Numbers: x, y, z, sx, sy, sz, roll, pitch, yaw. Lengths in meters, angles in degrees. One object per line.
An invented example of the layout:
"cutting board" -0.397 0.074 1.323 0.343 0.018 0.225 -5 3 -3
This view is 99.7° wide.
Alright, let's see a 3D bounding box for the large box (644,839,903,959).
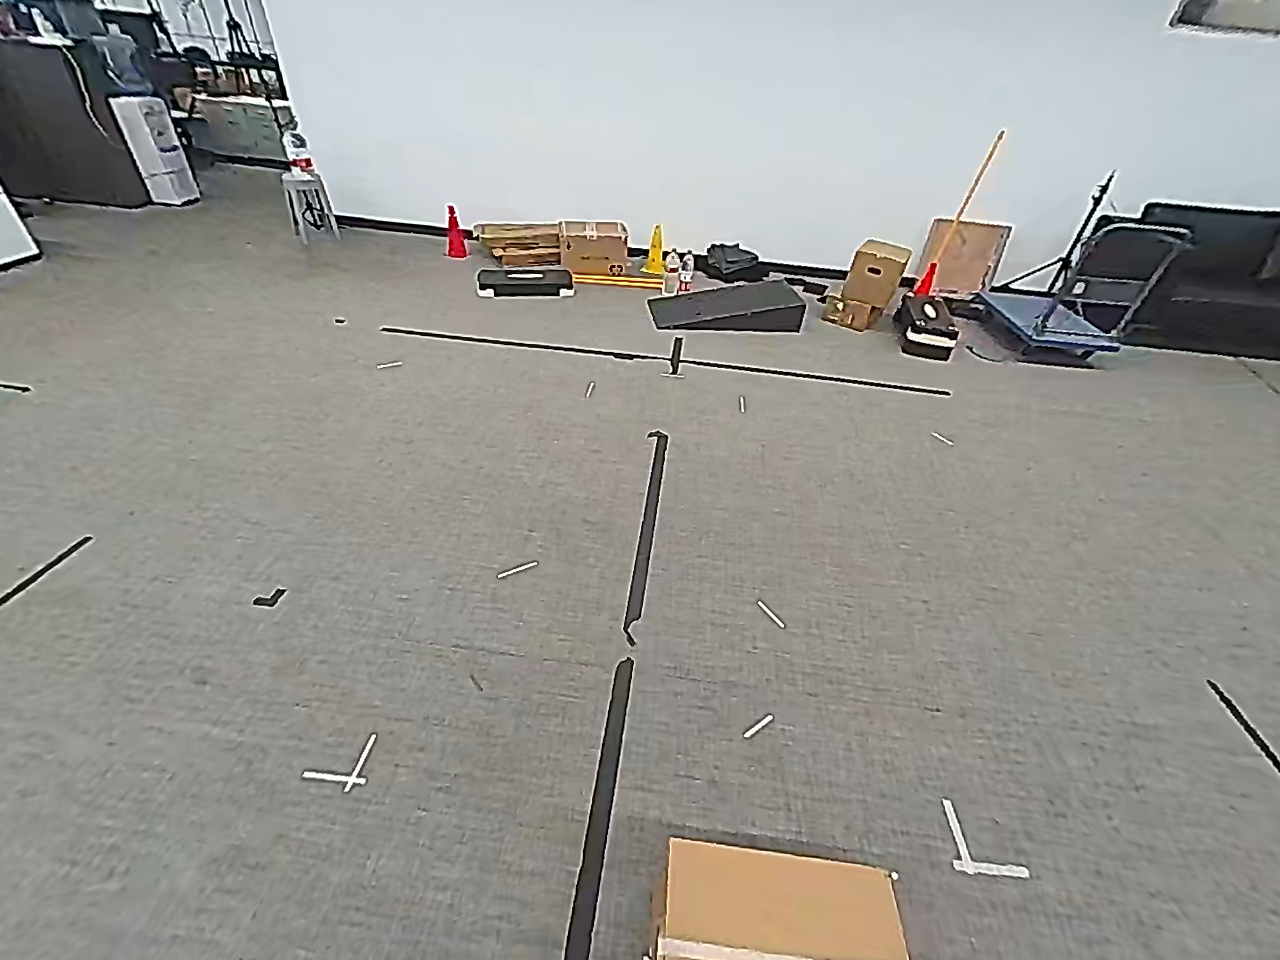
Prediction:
"large box" 0.215 0.891 0.958 0.408 0.320 0.320 8 38 1
